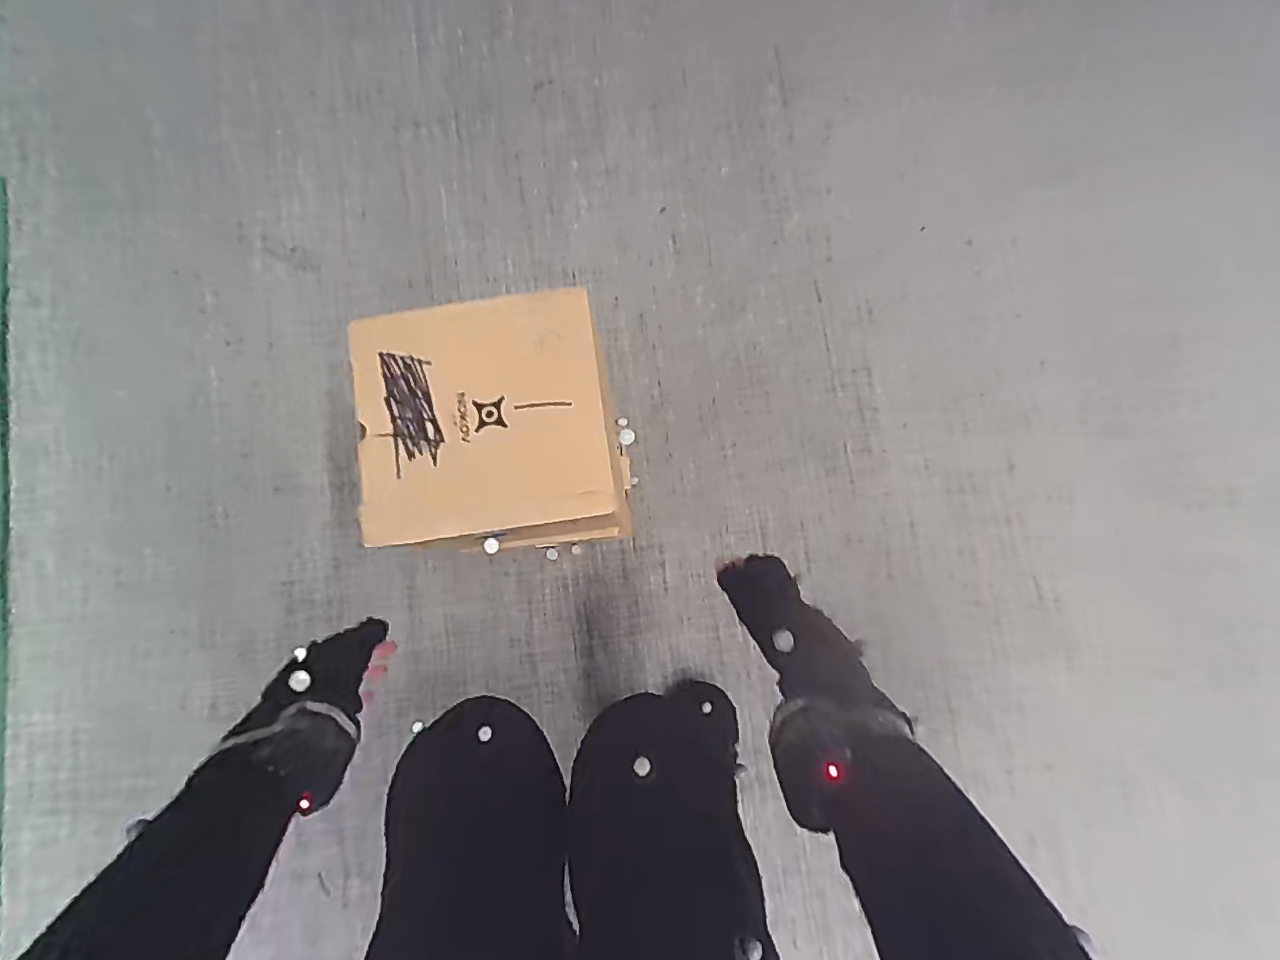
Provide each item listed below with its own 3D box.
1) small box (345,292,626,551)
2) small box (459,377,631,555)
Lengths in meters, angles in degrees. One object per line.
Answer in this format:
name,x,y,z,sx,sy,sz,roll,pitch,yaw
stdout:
small box,-0.113,-0.032,0.453,0.179,0.176,0.168,-8,83,2
small box,-0.103,-0.010,0.616,0.168,0.176,0.179,-7,84,3
